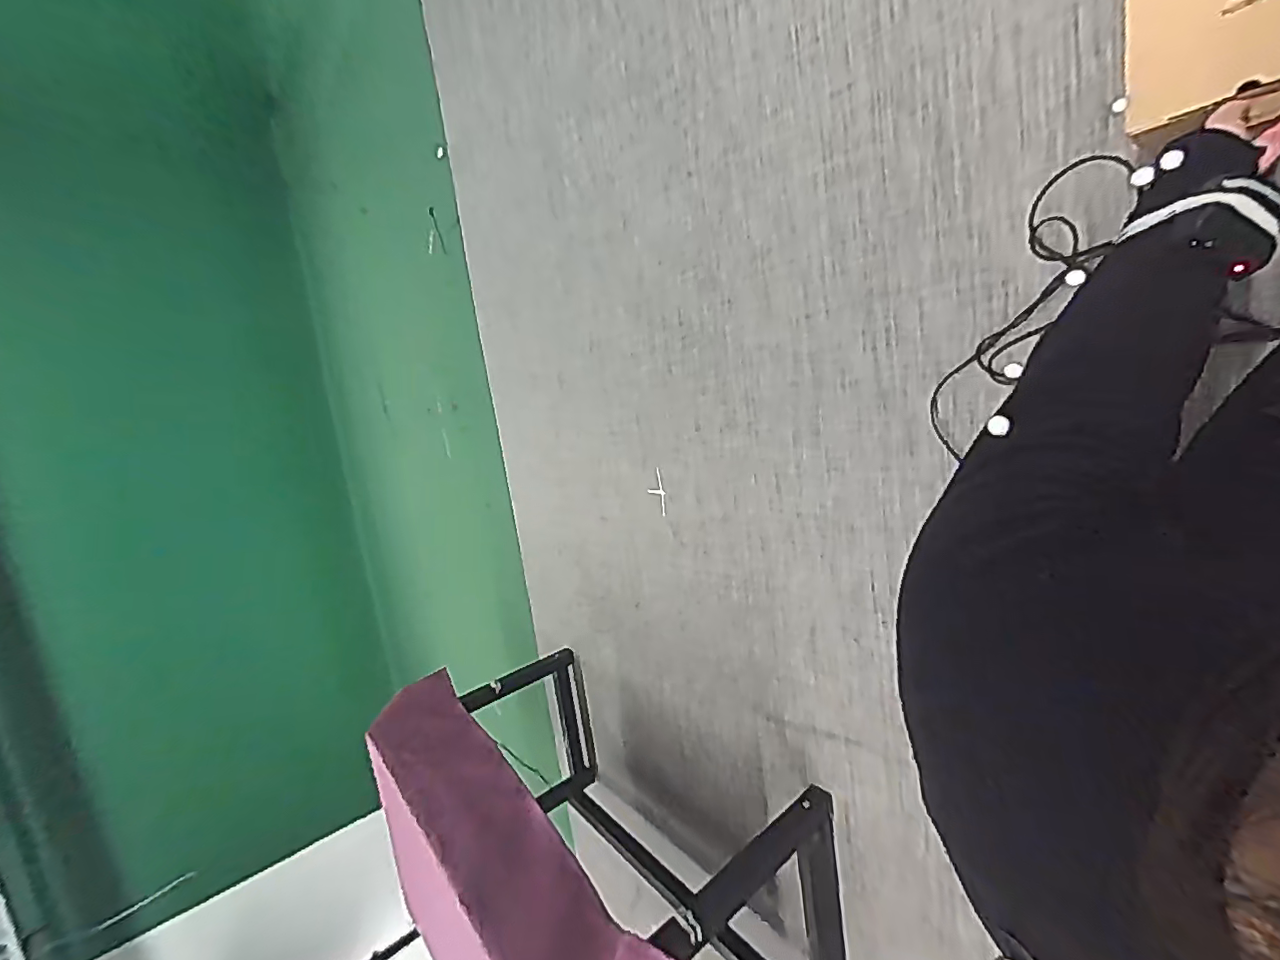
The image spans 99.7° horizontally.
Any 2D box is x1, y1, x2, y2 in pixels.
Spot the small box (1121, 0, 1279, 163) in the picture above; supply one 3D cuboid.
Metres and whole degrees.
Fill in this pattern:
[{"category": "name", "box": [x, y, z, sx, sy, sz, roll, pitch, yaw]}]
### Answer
[{"category": "small box", "box": [0.591, -0.438, 0.520, 0.168, 0.176, 0.179, 4, 105, 52]}]
